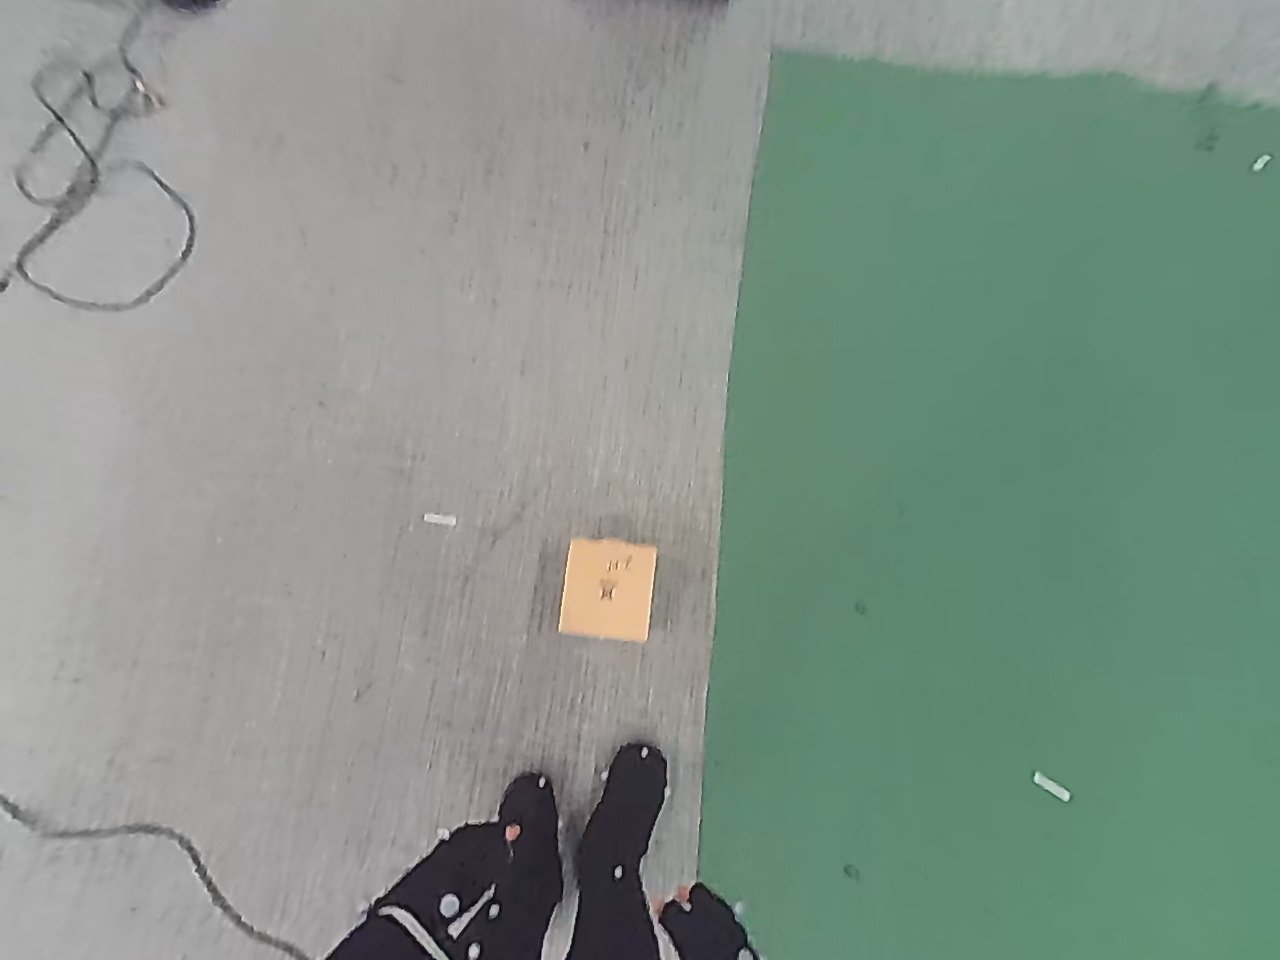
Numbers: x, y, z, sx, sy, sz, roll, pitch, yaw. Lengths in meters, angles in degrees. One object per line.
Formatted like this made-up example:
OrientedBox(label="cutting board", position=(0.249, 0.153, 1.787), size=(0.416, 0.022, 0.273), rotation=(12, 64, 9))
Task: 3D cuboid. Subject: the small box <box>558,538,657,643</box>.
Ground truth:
OrientedBox(label="small box", position=(-0.059, 0.217, 1.069), size=(0.168, 0.176, 0.179), rotation=(7, 78, 0))
